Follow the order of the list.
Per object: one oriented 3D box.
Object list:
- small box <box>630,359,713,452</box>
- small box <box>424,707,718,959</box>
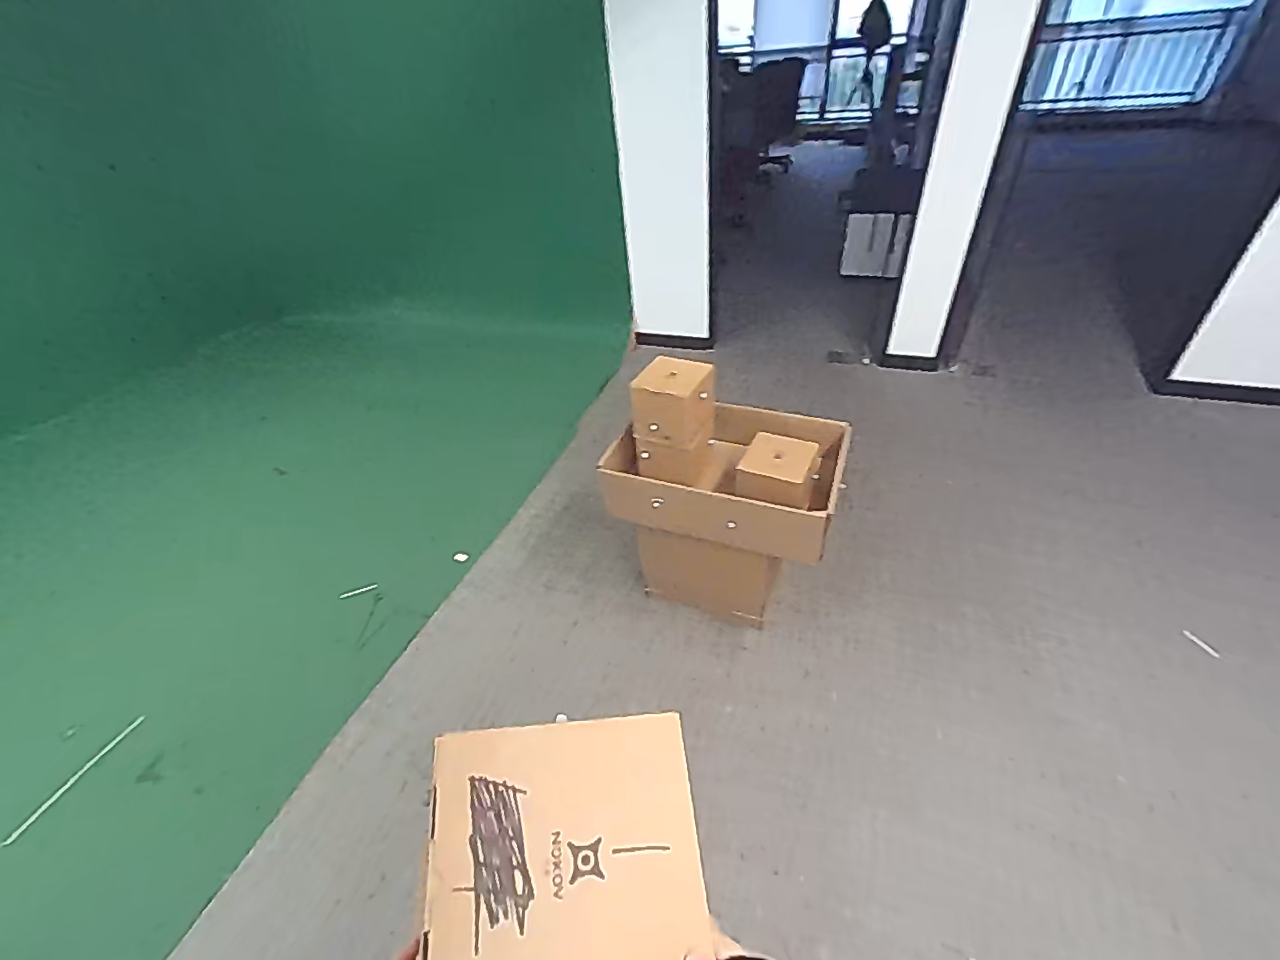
[{"bbox_3d":[0.088,-0.205,1.469,0.168,0.176,0.179,16,45,24],"label":"small box"},{"bbox_3d":[-0.062,0.280,0.413,0.179,0.176,0.168,3,58,-17],"label":"small box"}]
